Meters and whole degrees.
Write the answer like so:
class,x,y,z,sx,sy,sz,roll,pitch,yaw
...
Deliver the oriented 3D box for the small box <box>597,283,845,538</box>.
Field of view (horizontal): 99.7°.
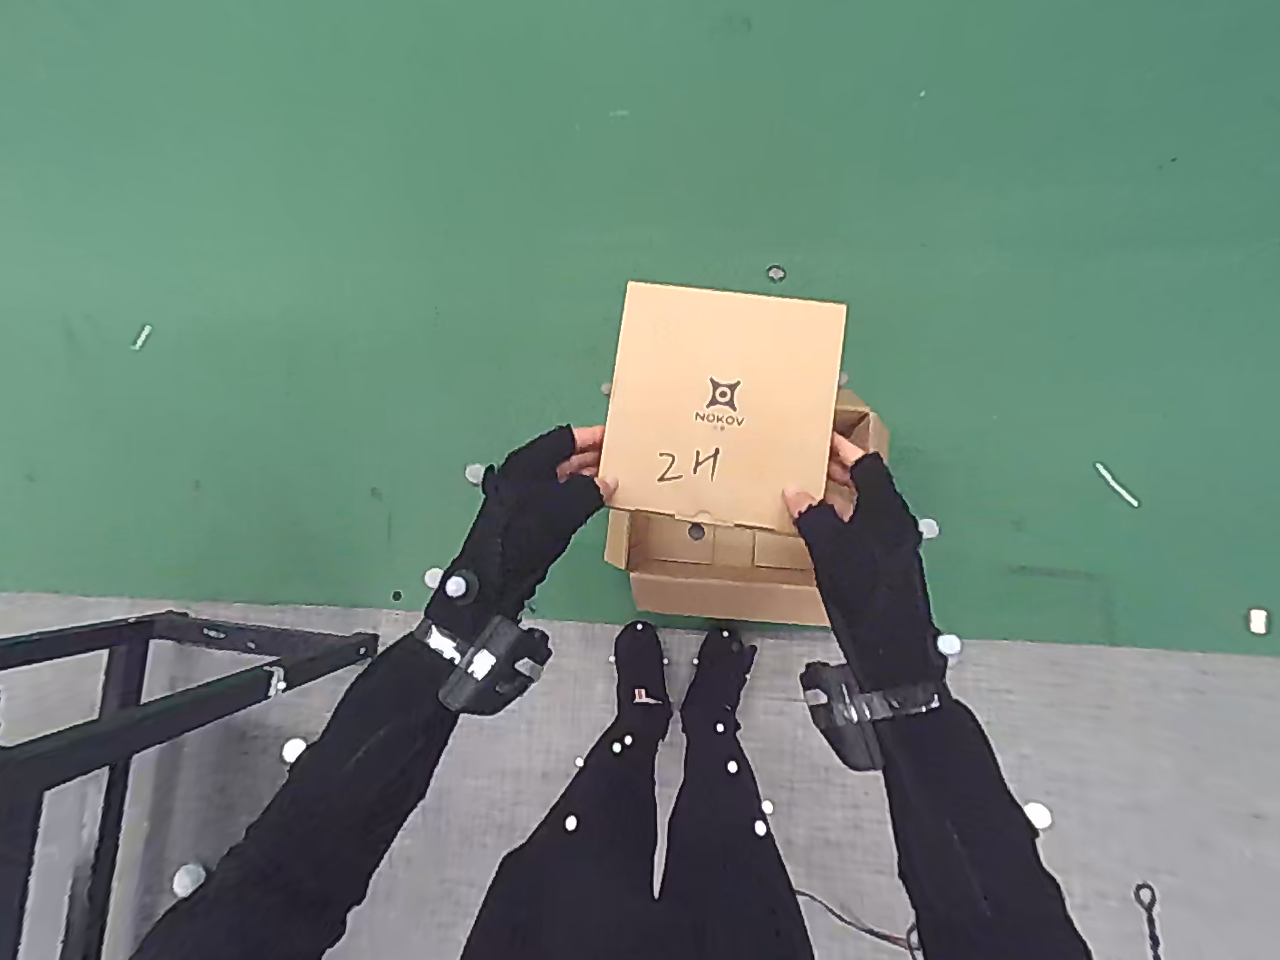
class,x,y,z,sx,sy,sz,roll,pitch,yaw
small box,0.066,-0.049,0.482,0.168,0.176,0.179,8,87,6
